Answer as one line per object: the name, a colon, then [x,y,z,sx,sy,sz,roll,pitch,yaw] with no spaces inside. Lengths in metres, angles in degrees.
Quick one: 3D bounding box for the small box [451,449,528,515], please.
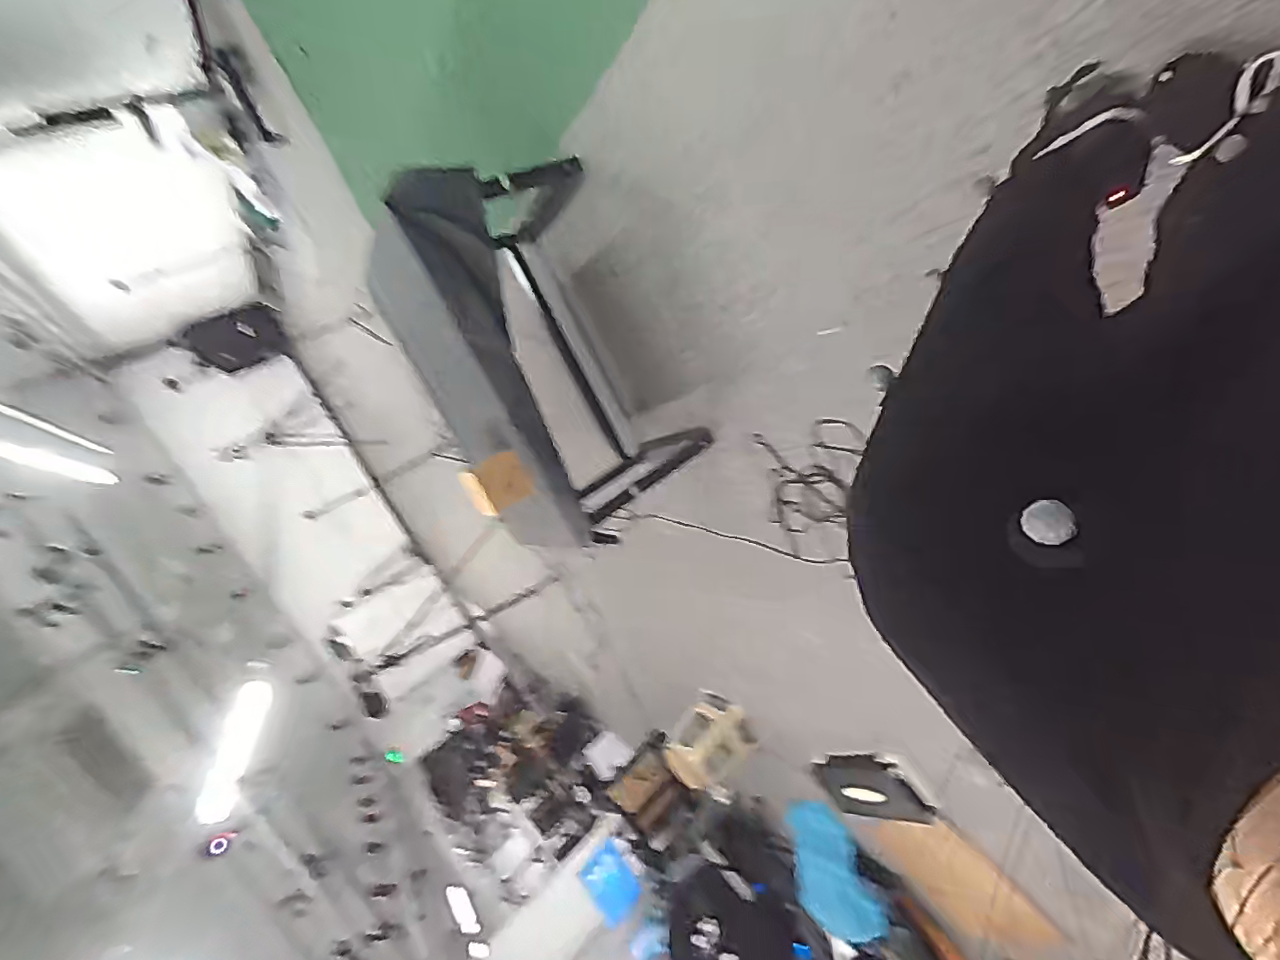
small box: [-0.505,0.005,1.831,0.179,0.176,0.168,-4,116,58]
